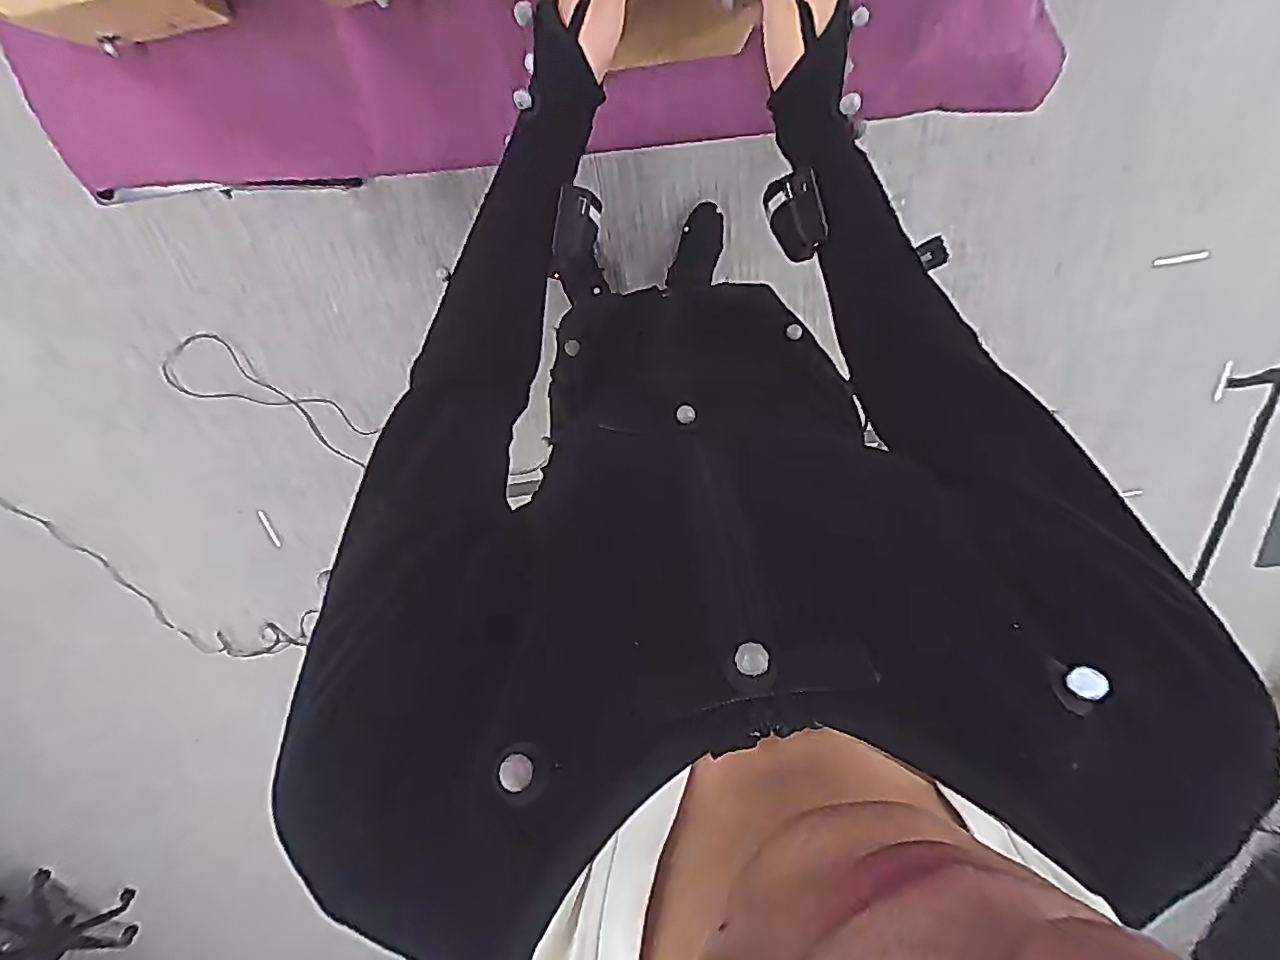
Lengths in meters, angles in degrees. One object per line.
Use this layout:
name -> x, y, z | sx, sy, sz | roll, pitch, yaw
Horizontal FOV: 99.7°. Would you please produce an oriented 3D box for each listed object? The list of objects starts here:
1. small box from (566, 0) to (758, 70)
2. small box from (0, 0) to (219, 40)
small box -> 0.015, -0.500, 0.477 | 0.179, 0.176, 0.168 | -9, 106, -2
small box -> -0.561, -0.552, 0.513 | 0.168, 0.176, 0.179 | -11, 117, 1
